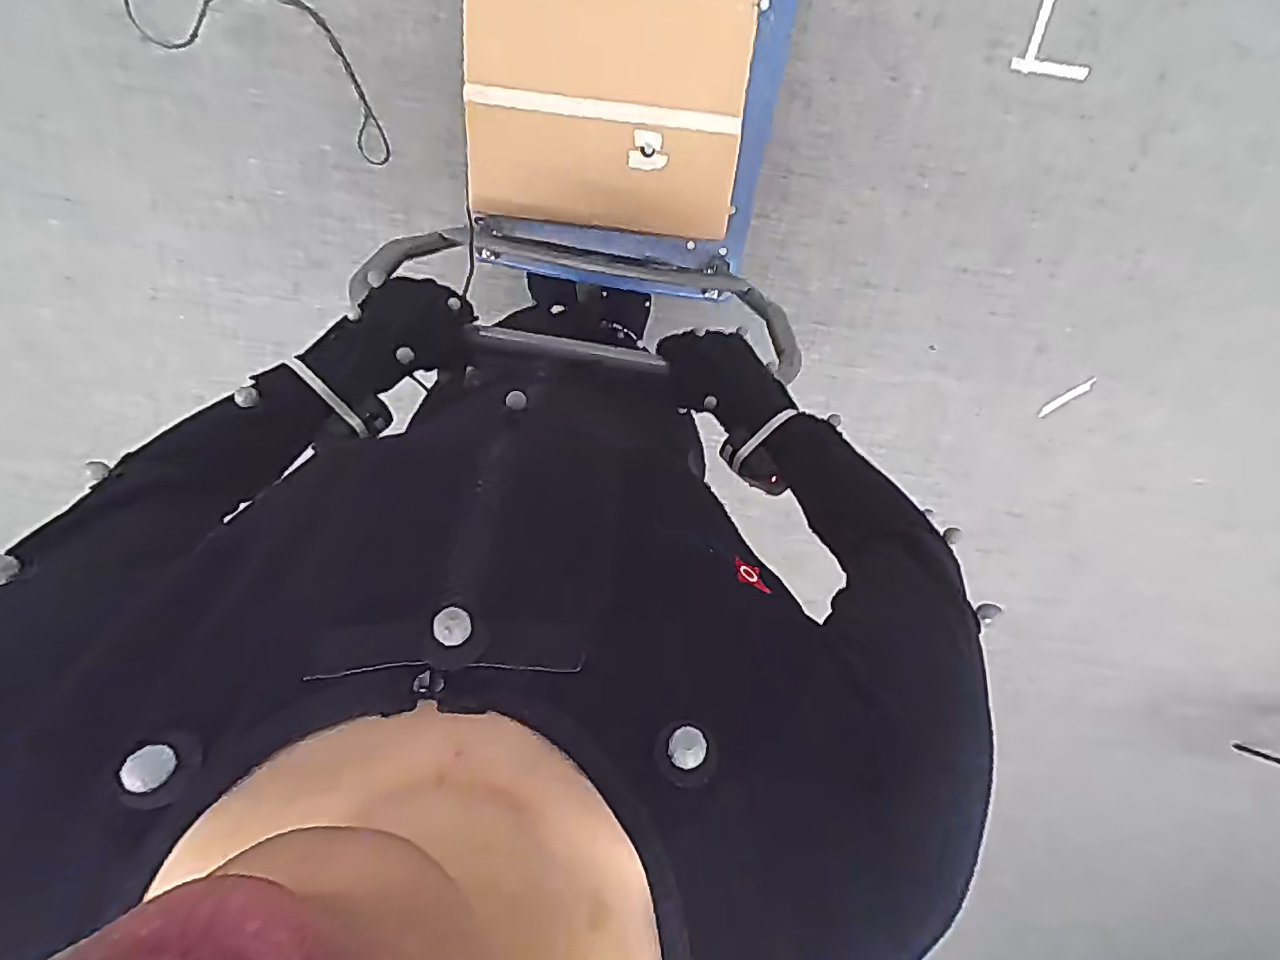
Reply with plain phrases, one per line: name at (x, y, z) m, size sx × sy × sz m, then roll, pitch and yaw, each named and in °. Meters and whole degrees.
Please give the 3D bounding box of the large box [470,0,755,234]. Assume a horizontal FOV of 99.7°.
large box at (-0.056, -0.616, 0.939) m, size 0.408 × 0.320 × 0.320 m, roll 4°, pitch 115°, yaw -5°
